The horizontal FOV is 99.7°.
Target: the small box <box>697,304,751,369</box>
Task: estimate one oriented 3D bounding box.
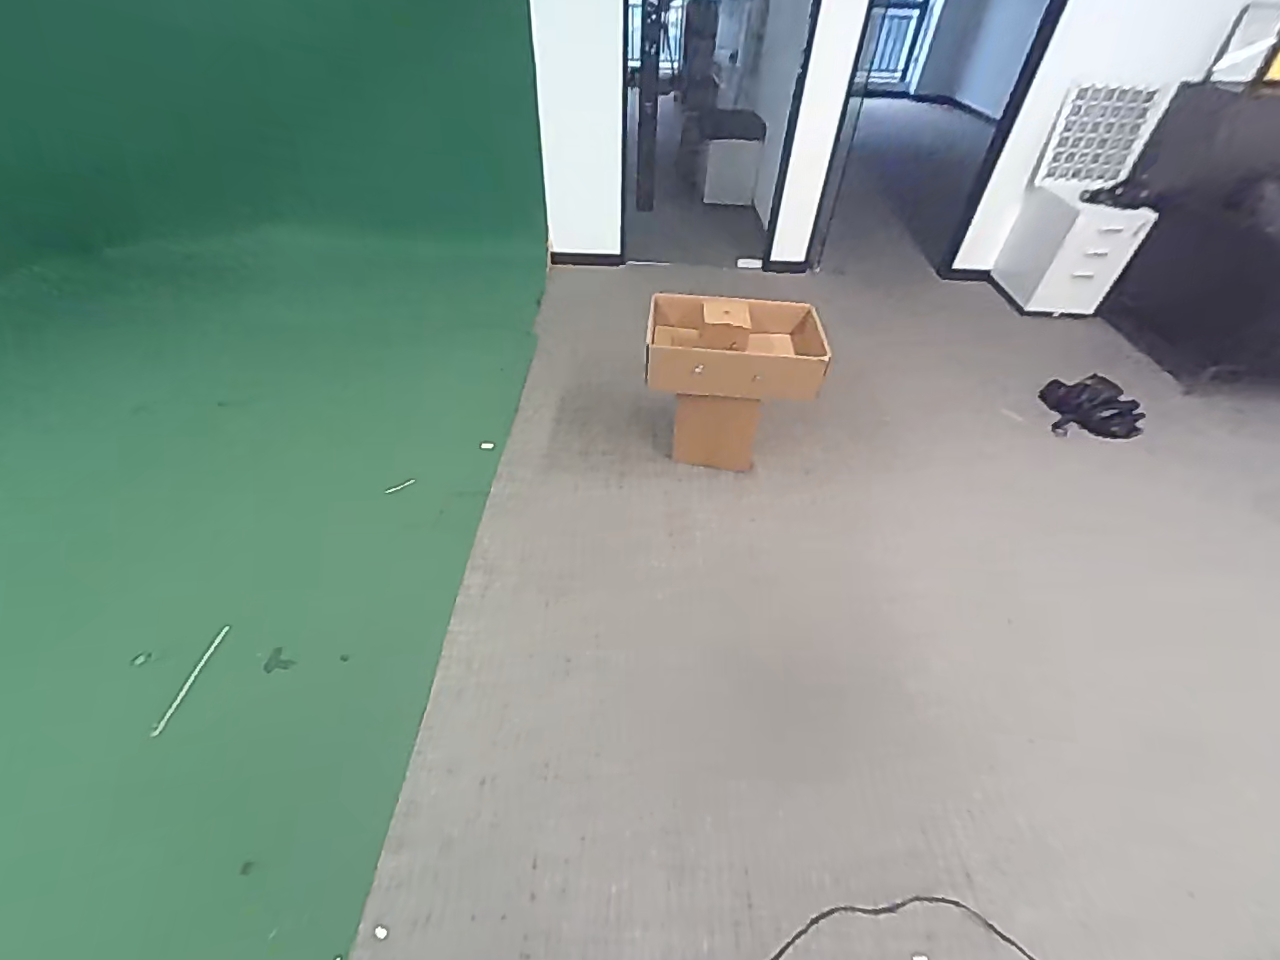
[{"bbox_3d":[0.302,-0.523,1.977,0.168,0.176,0.179,6,42,-1],"label":"small box"}]
